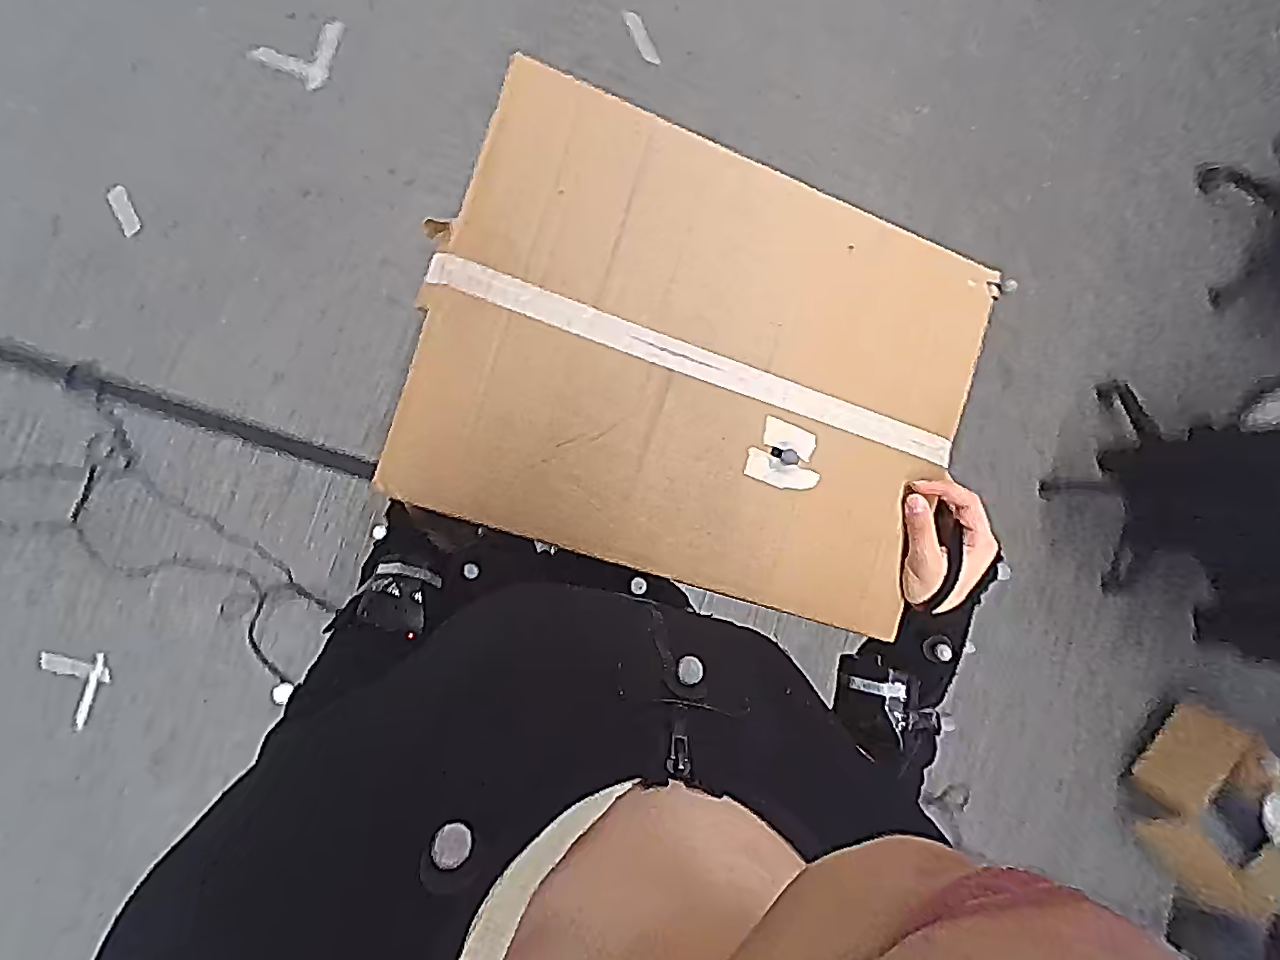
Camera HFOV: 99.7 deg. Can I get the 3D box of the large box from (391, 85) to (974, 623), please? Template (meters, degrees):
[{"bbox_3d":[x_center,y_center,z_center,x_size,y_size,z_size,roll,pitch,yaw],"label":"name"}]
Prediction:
[{"bbox_3d":[0.024,-0.081,0.552,0.408,0.320,0.320,16,89,-12],"label":"large box"}]
